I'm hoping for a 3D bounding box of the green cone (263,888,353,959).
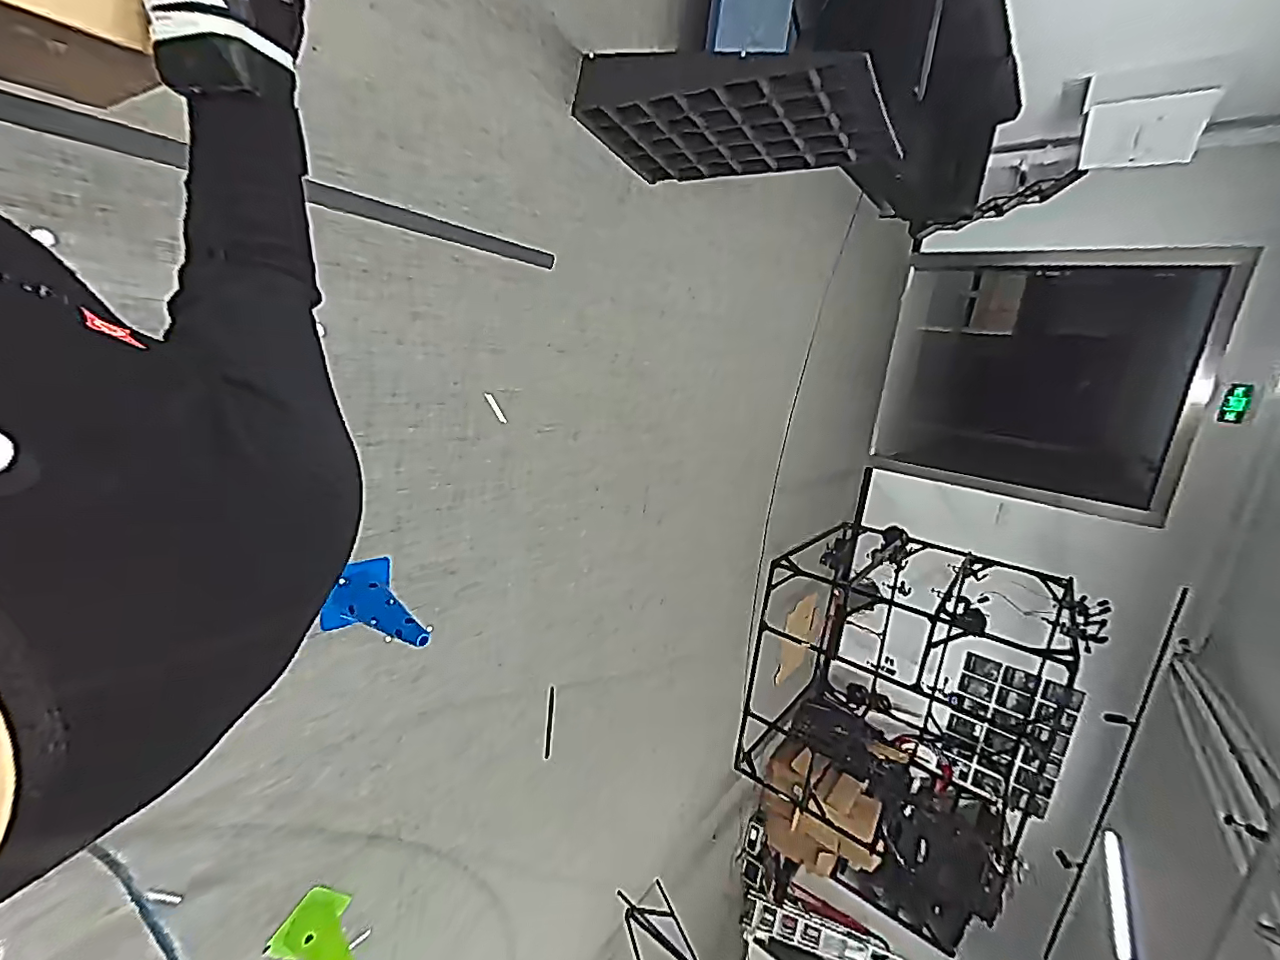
[{"bbox_3d":[-0.932,1.473,1.647,0.202,0.368,0.200,-52,141,-31],"label":"green cone"}]

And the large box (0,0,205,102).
[{"bbox_3d":[-0.524,-0.451,0.267,0.408,0.320,0.320,-13,118,-52],"label":"large box"}]

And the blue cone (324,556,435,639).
[{"bbox_3d":[-0.717,0.367,1.531,0.192,0.380,0.193,-6,108,-55],"label":"blue cone"}]
